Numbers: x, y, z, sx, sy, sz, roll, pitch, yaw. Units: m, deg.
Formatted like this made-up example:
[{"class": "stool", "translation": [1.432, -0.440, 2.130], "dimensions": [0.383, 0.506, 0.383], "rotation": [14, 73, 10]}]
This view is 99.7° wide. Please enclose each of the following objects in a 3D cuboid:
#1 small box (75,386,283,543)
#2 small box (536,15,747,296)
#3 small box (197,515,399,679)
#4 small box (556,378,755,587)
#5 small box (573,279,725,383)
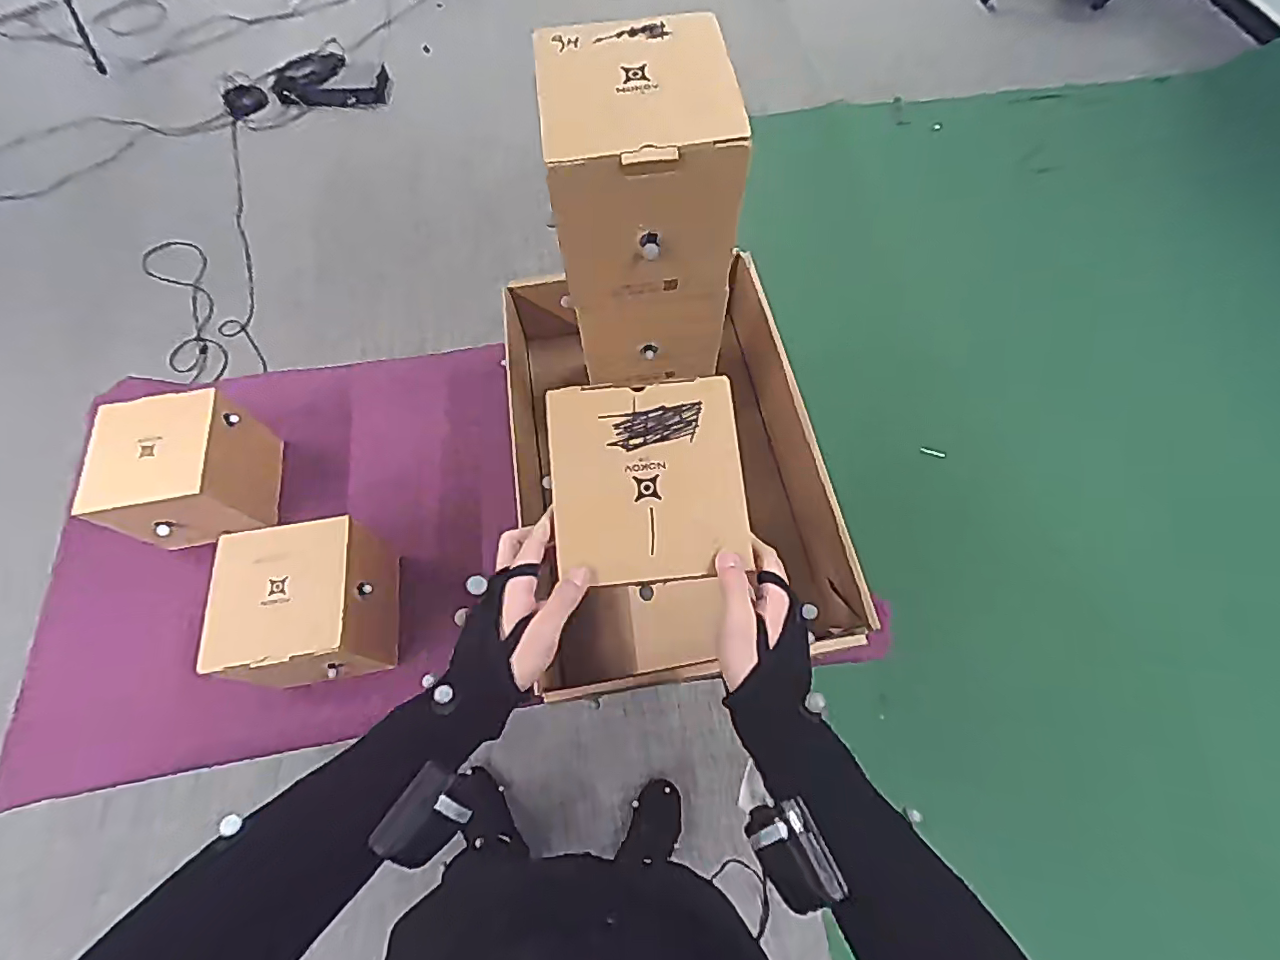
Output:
[{"class": "small box", "translation": [-0.681, -0.014, 0.825], "dimensions": [0.168, 0.176, 0.179], "rotation": [-11, 65, -4]}, {"class": "small box", "translation": [-0.001, -0.299, 0.528], "dimensions": [0.168, 0.176, 0.179], "rotation": [-7, 68, -2]}, {"class": "small box", "translation": [-0.444, 0.167, 0.736], "dimensions": [0.168, 0.176, 0.179], "rotation": [-8, 64, -4]}, {"class": "small box", "translation": [0.008, 0.013, 0.547], "dimensions": [0.168, 0.176, 0.179], "rotation": [-4, 79, -2]}, {"class": "small box", "translation": [0.005, -0.236, 0.679], "dimensions": [0.168, 0.176, 0.179], "rotation": [-7, 66, -2]}]
